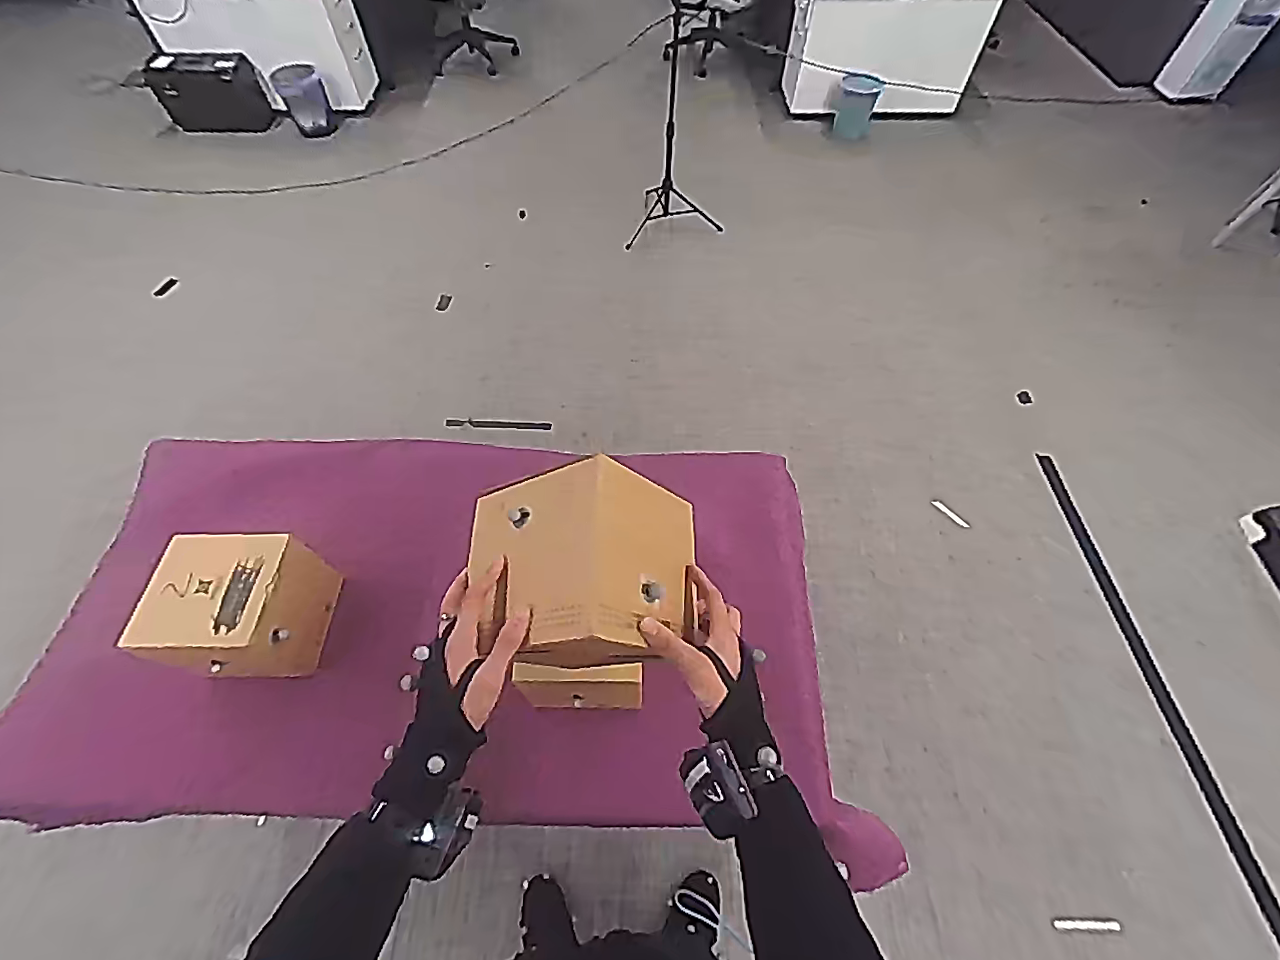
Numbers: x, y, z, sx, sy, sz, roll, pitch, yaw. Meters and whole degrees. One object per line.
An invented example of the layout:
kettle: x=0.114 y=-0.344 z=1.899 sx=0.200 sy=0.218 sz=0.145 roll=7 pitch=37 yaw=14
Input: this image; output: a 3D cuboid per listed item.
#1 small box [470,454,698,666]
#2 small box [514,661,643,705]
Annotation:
small box: x=-0.055 y=0.099 z=0.564 sx=0.179 sy=0.168 sz=0.176 roll=-18 pitch=60 yaw=35
small box: x=-0.077 y=0.227 z=0.799 sx=0.168 sy=0.176 sz=0.179 roll=1 pitch=57 yaw=0
